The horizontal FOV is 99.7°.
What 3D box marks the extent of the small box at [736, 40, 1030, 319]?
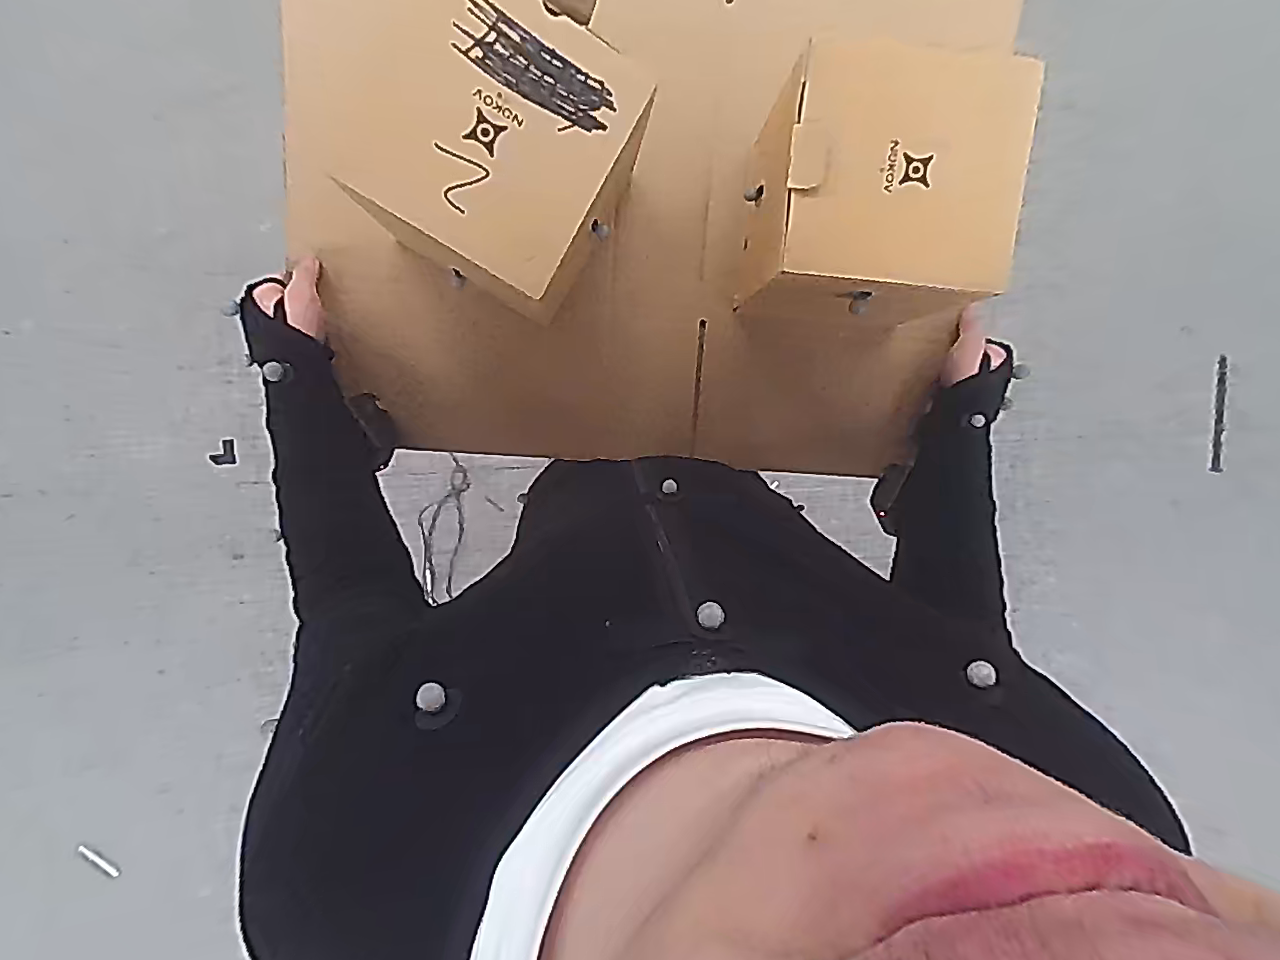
[{"bbox_3d":[0.198,-0.247,0.492,0.179,0.176,0.168,5,98,-2],"label":"small box"}]
